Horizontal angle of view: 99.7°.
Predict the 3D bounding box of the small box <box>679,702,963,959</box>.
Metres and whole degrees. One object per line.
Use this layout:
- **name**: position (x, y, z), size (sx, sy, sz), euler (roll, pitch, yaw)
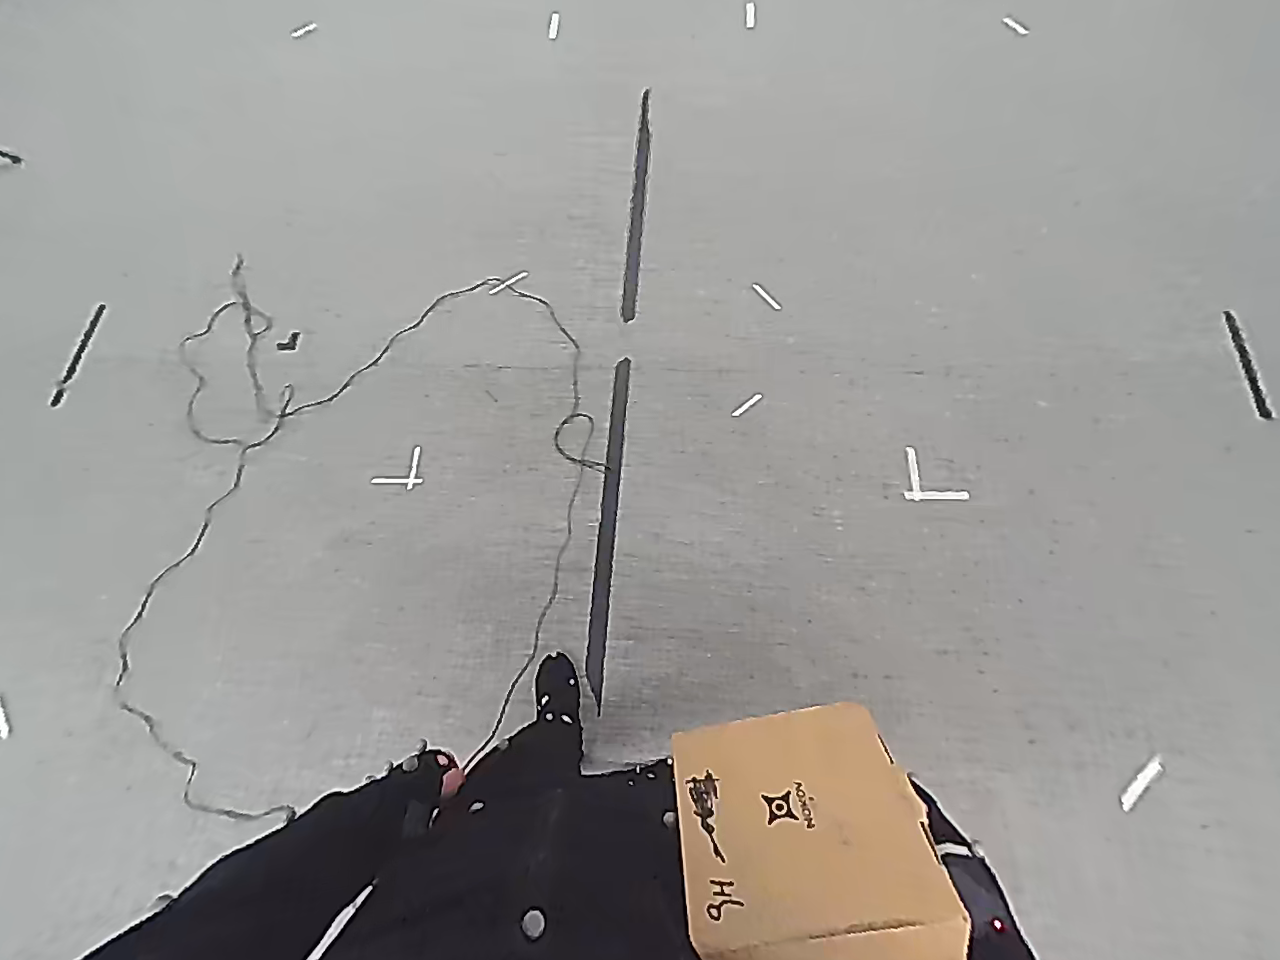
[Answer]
- **small box**: position (0.138, 0.323, 0.457), size (0.179, 0.168, 0.176), euler (-12, 115, 4)
